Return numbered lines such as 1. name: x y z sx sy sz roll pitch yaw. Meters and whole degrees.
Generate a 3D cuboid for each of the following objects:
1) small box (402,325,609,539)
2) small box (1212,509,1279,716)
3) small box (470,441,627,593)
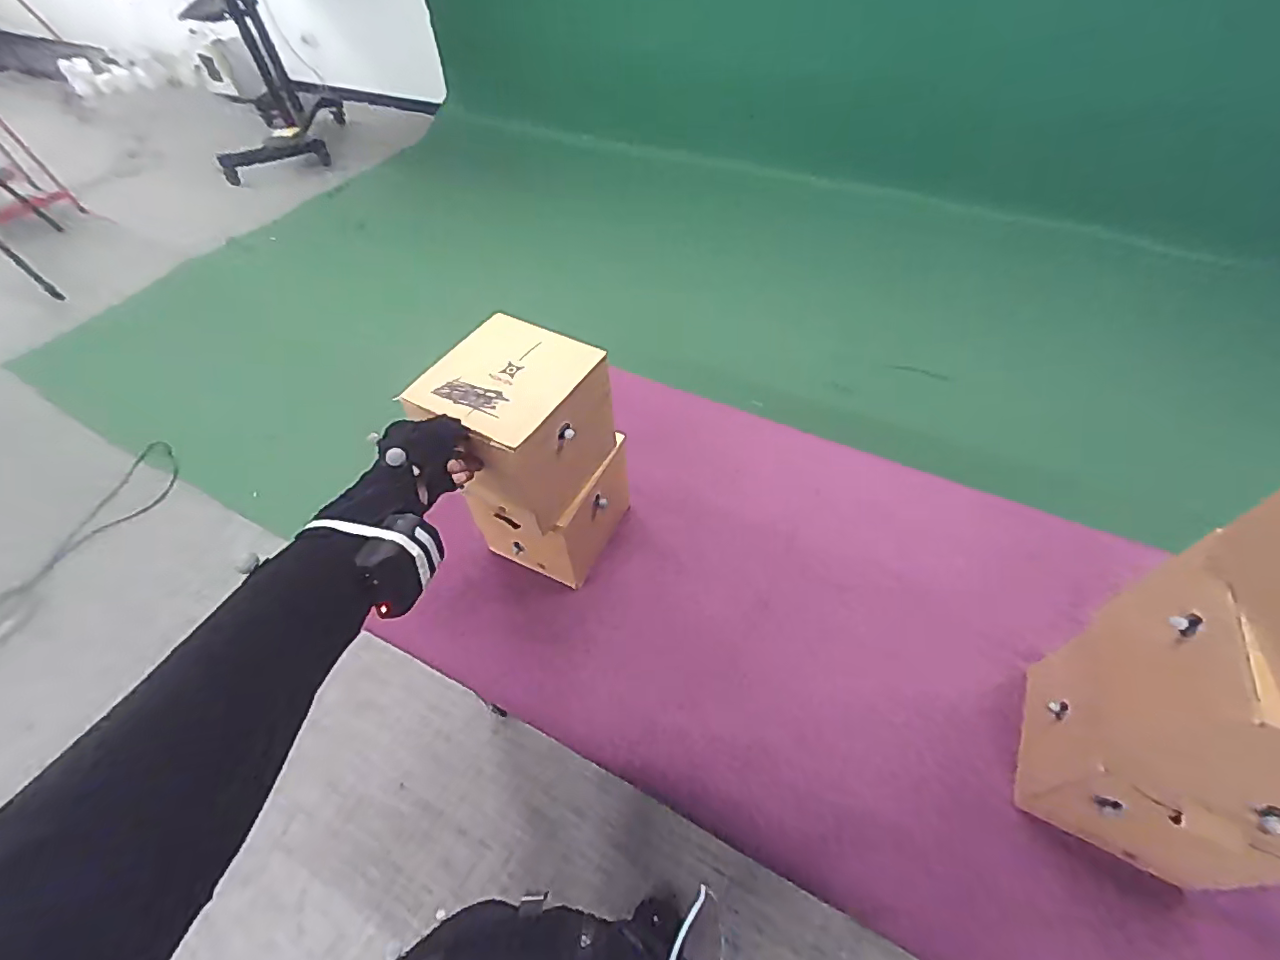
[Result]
1. small box: -0.149 -0.056 0.675 0.168 0.176 0.179 25 57 19
2. small box: 0.521 0.092 0.319 0.168 0.176 0.179 10 52 10
3. small box: -0.129 0.036 0.811 0.168 0.176 0.179 21 57 17
